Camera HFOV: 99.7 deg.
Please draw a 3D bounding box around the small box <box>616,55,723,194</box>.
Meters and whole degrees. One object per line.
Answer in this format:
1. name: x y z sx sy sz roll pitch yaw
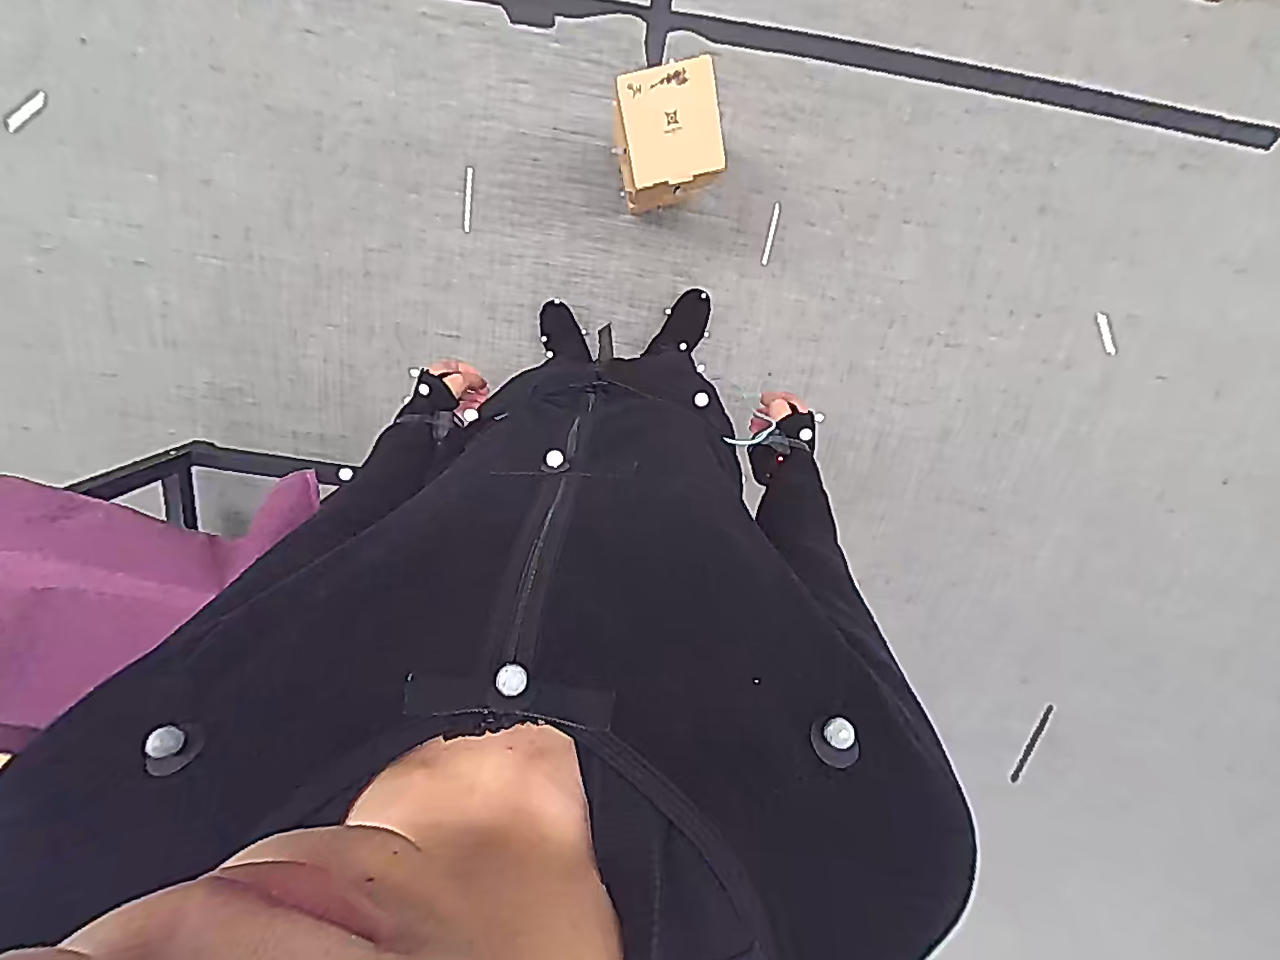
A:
1. small box: 0.054 -0.648 1.011 0.168 0.176 0.179 -11 111 3
